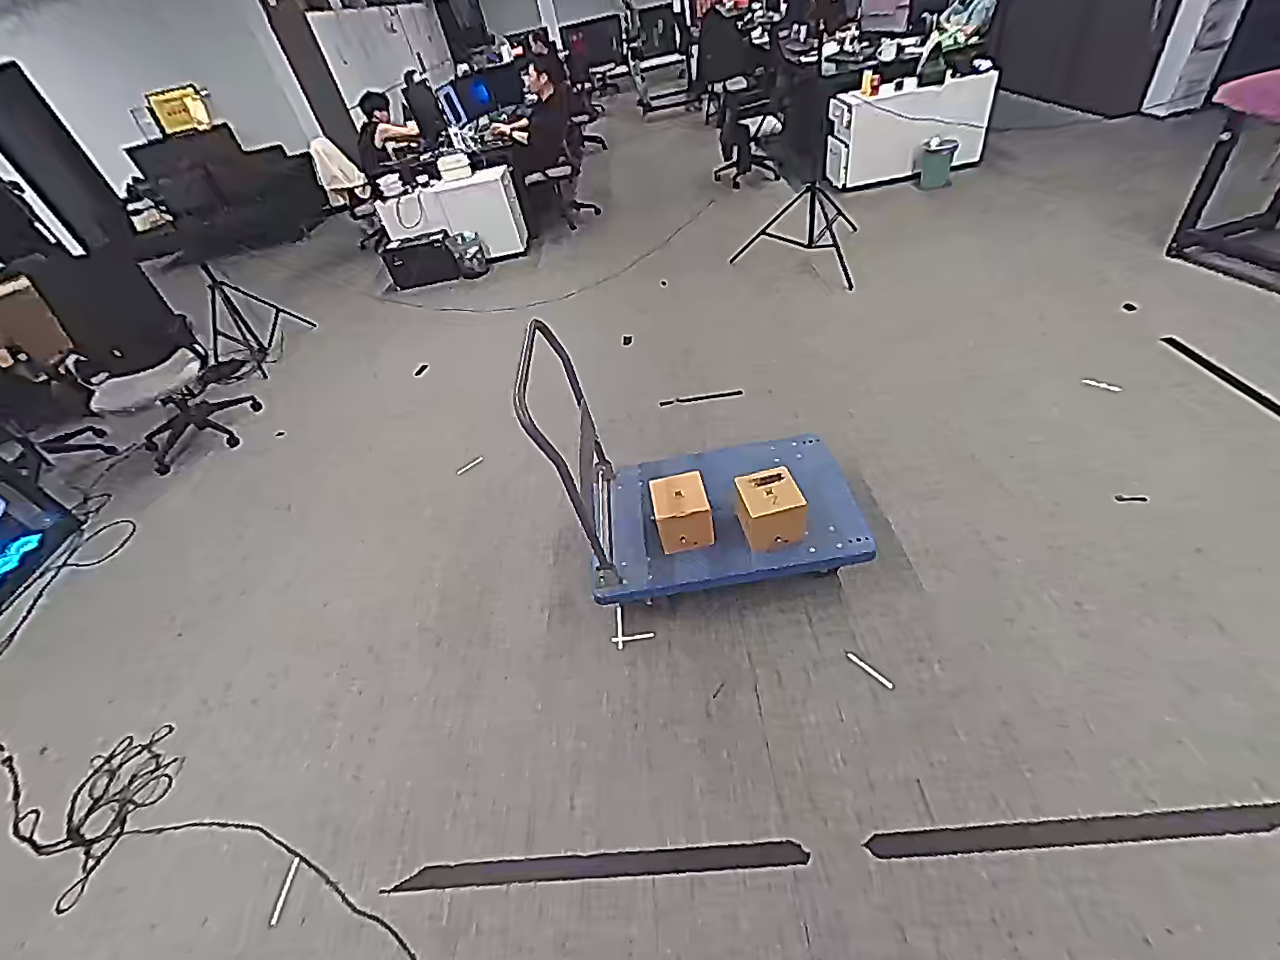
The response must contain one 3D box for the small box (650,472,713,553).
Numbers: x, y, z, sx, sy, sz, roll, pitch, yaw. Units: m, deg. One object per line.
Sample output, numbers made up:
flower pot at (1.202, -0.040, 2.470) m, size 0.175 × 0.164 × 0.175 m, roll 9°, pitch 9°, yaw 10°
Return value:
small box at (0.131, 0.104, 1.716) m, size 0.168 × 0.176 × 0.179 m, roll -12°, pitch 43°, yaw 1°
